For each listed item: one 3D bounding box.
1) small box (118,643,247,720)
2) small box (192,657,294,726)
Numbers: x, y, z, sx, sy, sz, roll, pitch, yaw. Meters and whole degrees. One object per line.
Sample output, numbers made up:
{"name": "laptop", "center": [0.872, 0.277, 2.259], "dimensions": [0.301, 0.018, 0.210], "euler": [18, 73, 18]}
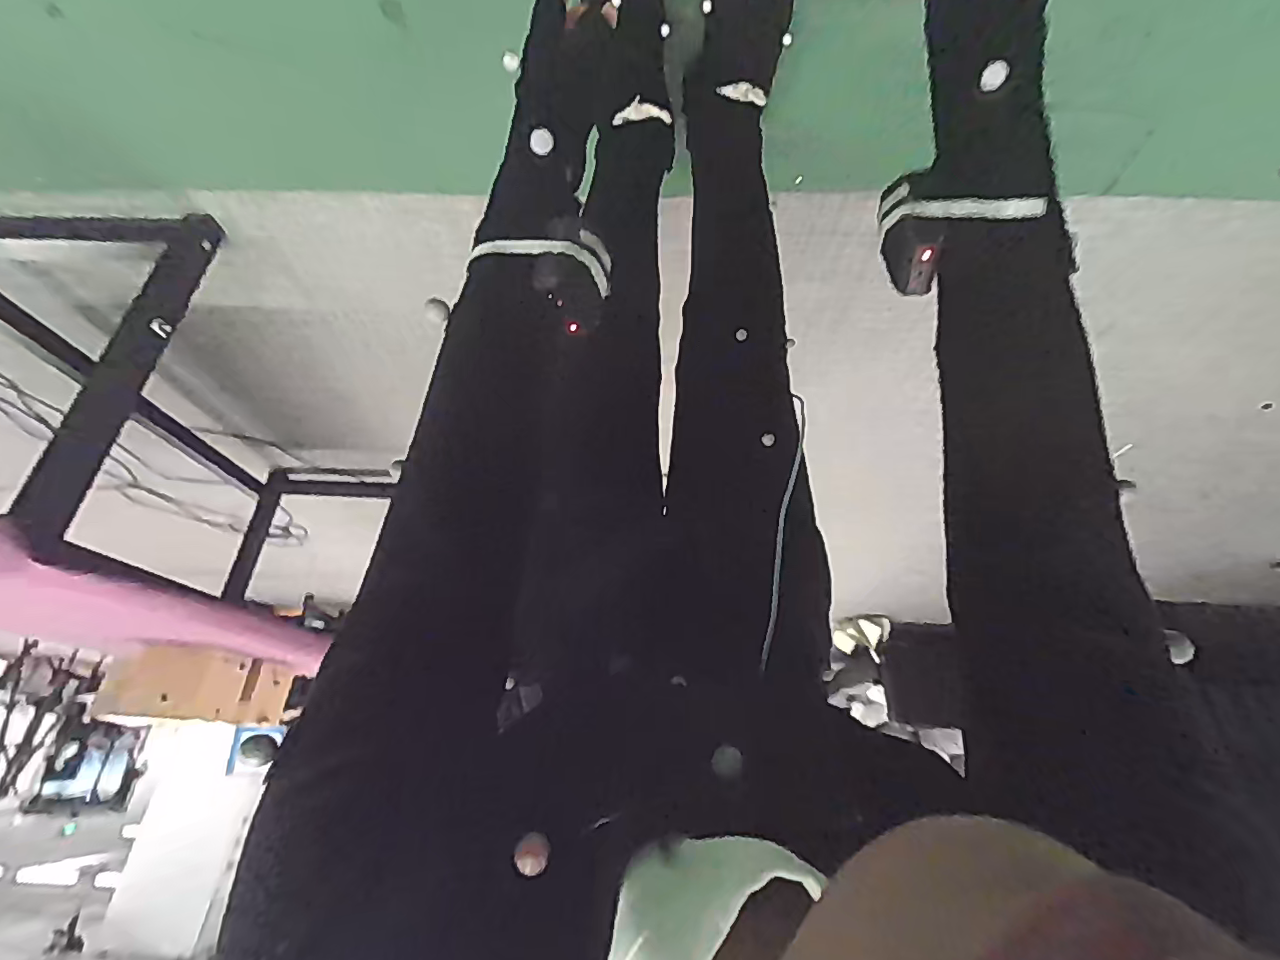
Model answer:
{"name": "small box", "center": [-1.155, 0.518, 1.388], "dimensions": [0.179, 0.176, 0.168], "euler": [3, 153, 1]}
{"name": "small box", "center": [-1.160, 0.616, 1.578], "dimensions": [0.179, 0.176, 0.168], "euler": [2, 153, 1]}
